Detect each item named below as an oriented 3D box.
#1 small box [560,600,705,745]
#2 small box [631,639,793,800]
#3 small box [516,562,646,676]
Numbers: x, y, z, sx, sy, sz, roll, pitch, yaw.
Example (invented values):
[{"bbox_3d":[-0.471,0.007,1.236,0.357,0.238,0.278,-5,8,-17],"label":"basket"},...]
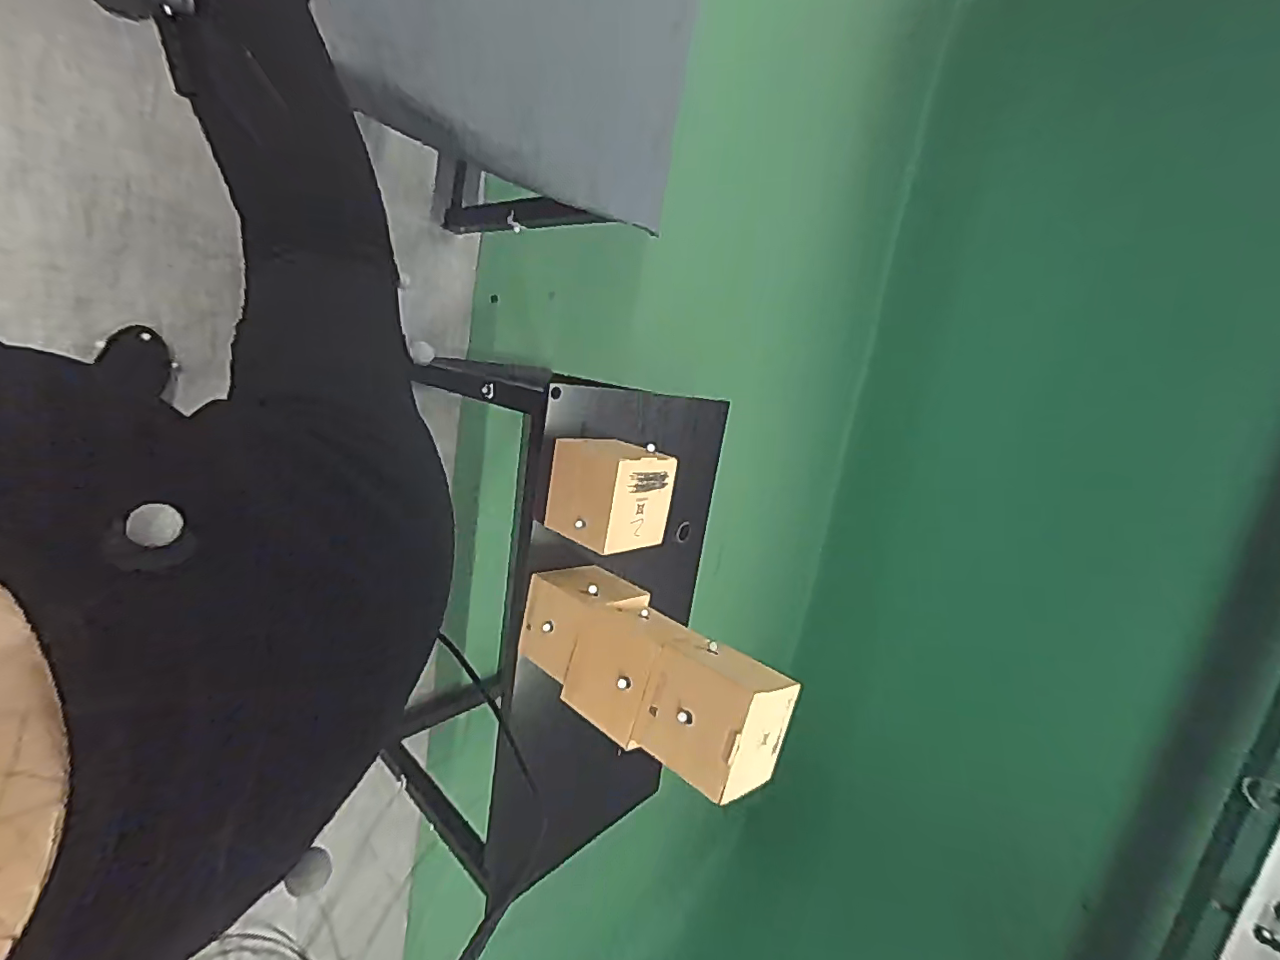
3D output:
[{"bbox_3d":[-0.018,0.328,0.957,0.168,0.176,0.179,15,94,-51],"label":"small box"},{"bbox_3d":[0.113,0.366,0.864,0.179,0.176,0.168,19,90,-50],"label":"small box"},{"bbox_3d":[-0.120,0.272,1.072,0.179,0.176,0.168,2,104,-50],"label":"small box"}]
